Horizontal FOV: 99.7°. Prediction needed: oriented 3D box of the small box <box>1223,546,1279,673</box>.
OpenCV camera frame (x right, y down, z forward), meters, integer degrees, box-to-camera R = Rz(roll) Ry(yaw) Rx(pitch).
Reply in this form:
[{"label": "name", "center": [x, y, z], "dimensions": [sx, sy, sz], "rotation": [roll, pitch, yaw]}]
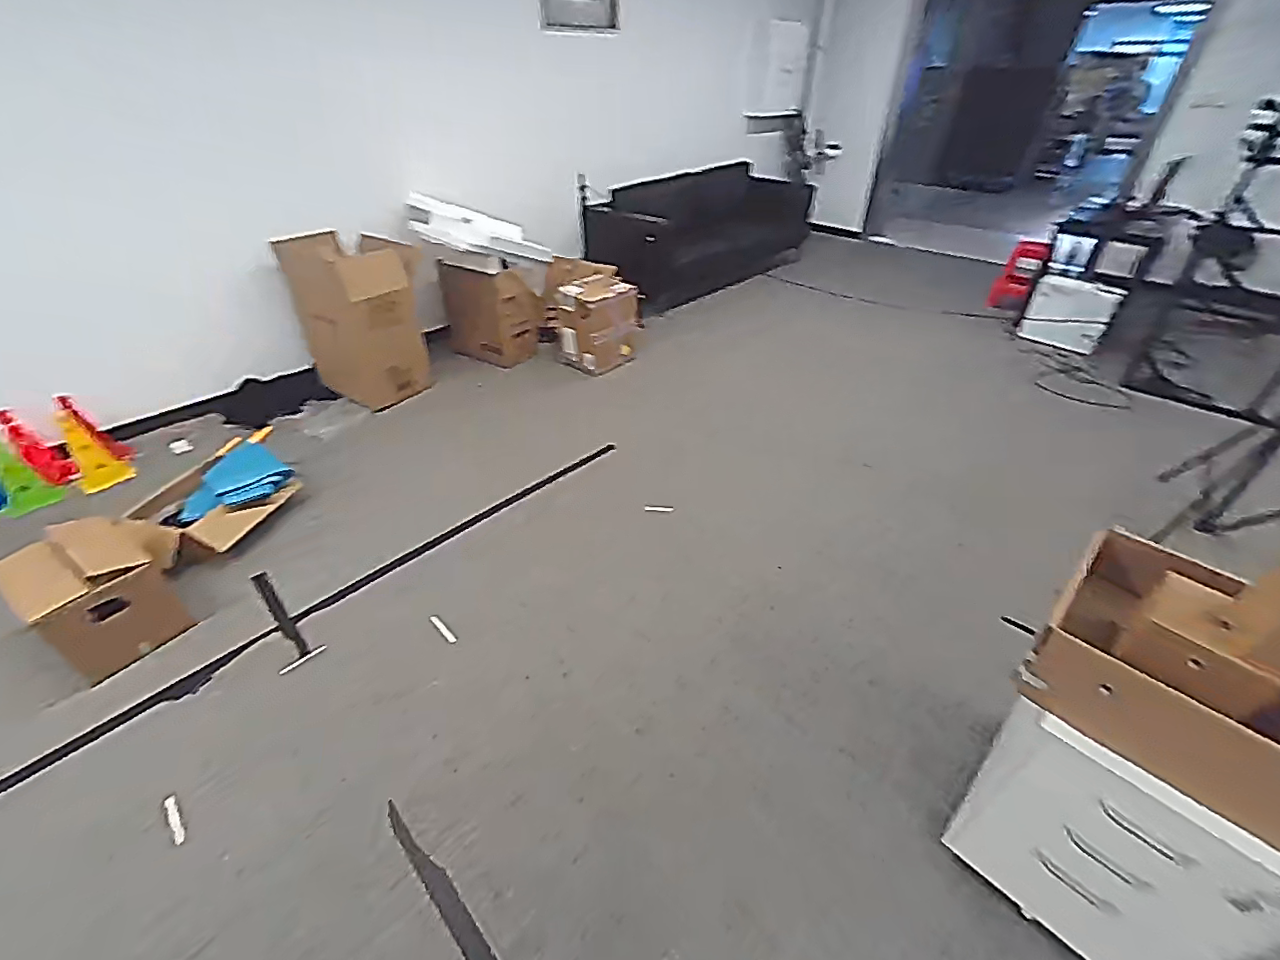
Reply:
[{"label": "small box", "center": [1.076, 0.213, 0.839], "dimensions": [0.179, 0.176, 0.168], "rotation": [26, 46, 31]}]
